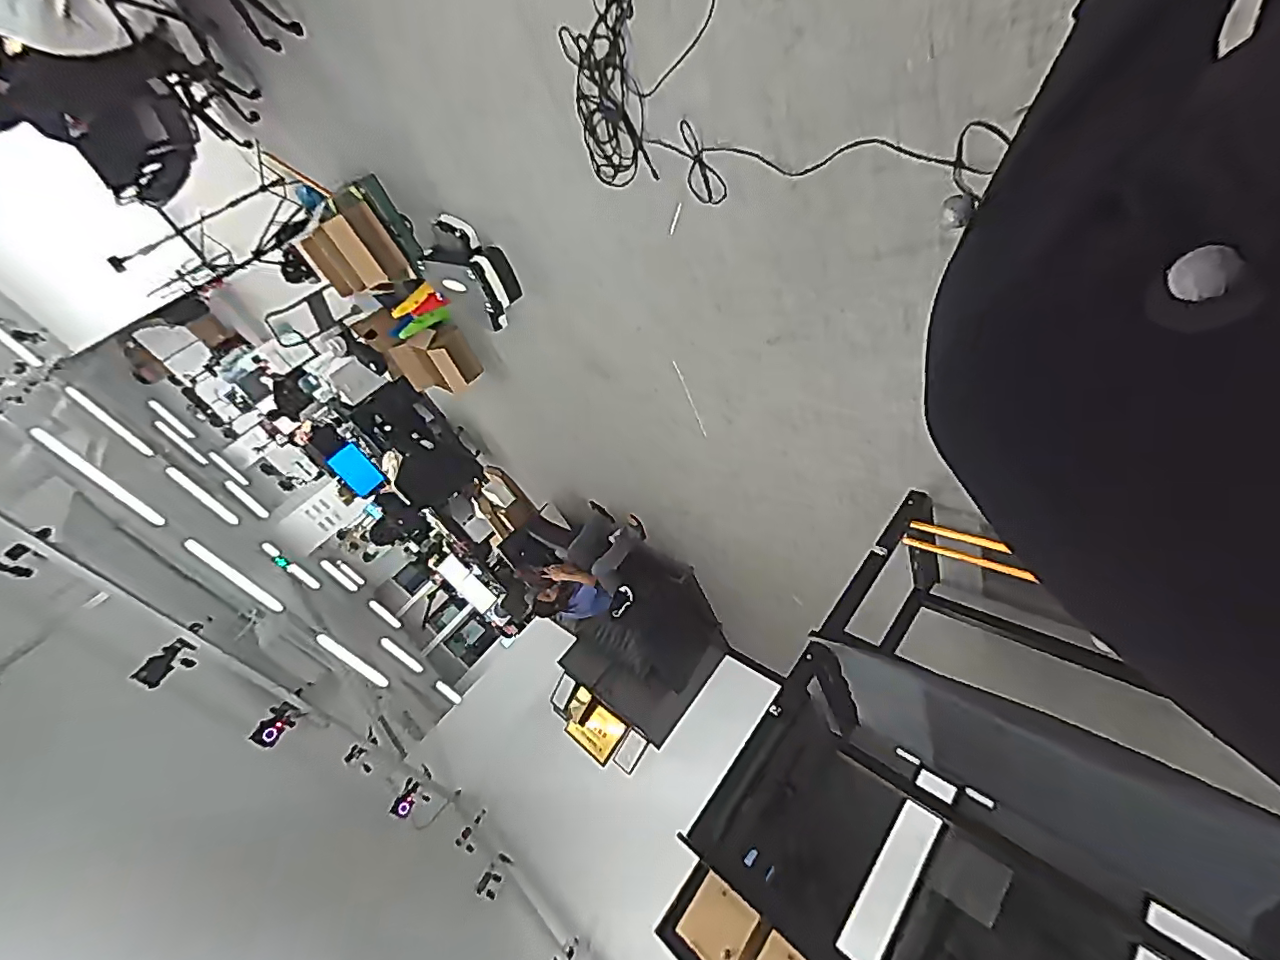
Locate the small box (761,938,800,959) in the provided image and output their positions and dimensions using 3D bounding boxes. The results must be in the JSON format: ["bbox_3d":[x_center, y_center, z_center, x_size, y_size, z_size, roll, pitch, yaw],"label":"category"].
[{"bbox_3d":[0.363,1.257,1.292,0.168,0.176,0.179,18,145,47],"label":"small box"}]
